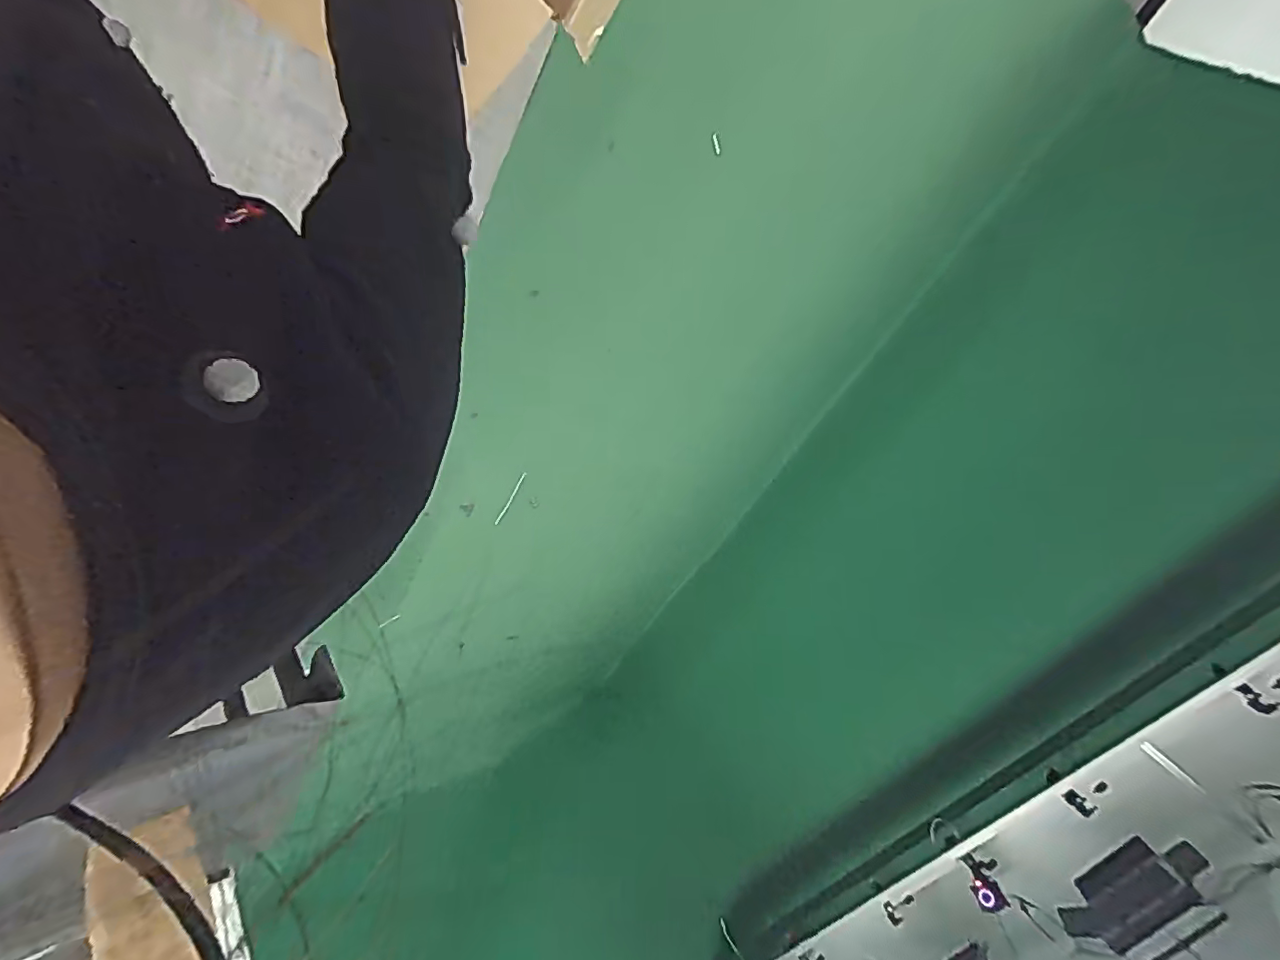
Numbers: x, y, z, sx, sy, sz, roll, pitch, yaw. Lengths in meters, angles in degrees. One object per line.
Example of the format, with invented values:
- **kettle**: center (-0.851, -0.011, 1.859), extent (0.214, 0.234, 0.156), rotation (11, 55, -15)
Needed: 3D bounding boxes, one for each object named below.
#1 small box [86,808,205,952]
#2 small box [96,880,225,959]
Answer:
- **small box**: center (-1.103, 0.878, 1.203), extent (0.168, 0.176, 0.179), rotation (-1, 132, -52)
- **small box**: center (-1.005, 0.988, 1.130), extent (0.168, 0.176, 0.179), rotation (2, 130, -53)
